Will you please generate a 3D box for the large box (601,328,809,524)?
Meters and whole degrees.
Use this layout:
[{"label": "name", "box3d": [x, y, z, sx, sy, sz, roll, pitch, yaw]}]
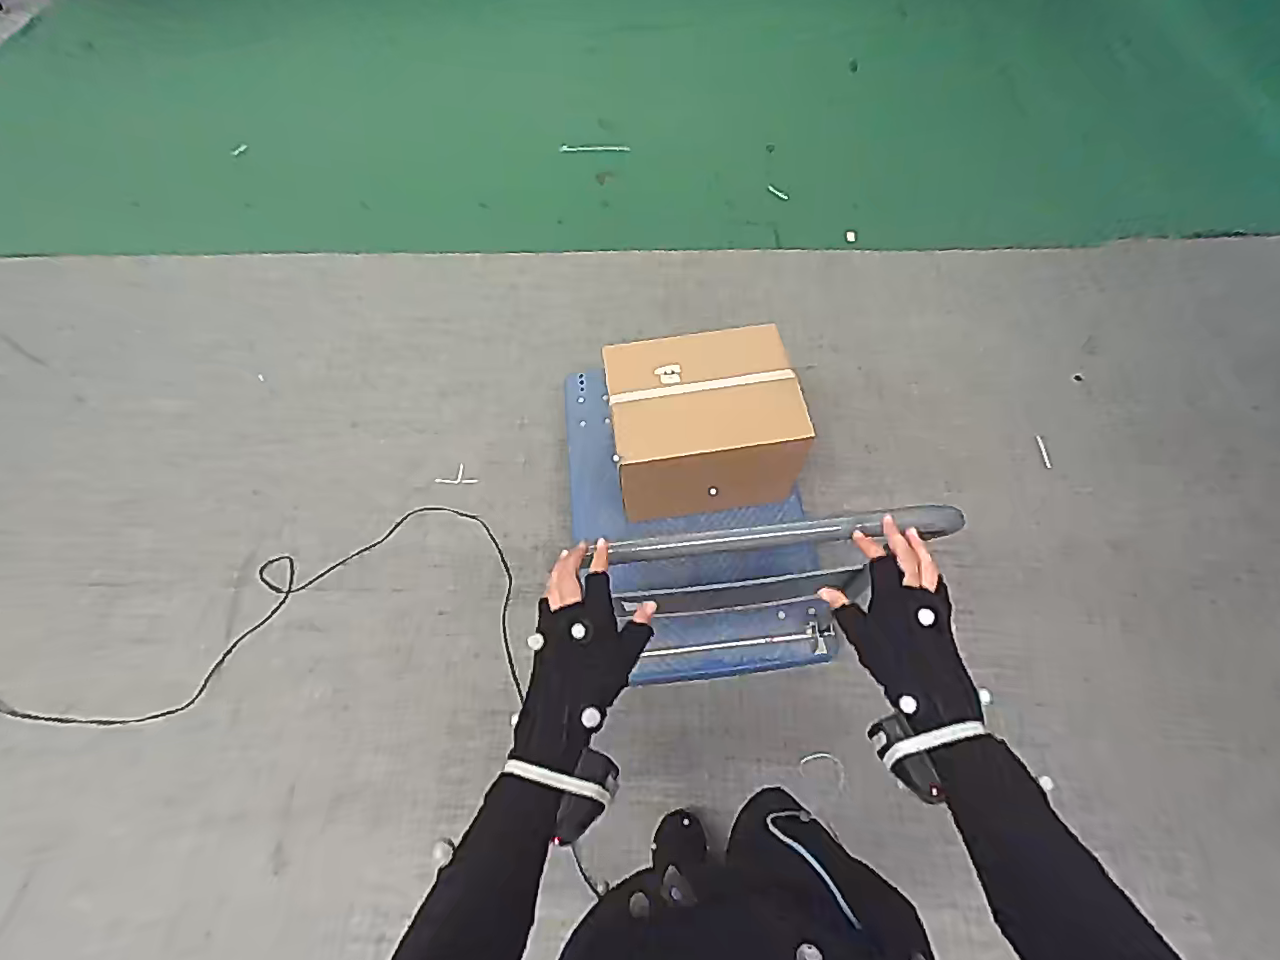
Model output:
[{"label": "large box", "box3d": [0.139, -0.117, 1.298, 0.408, 0.320, 0.320, -9, 61, -1]}]
